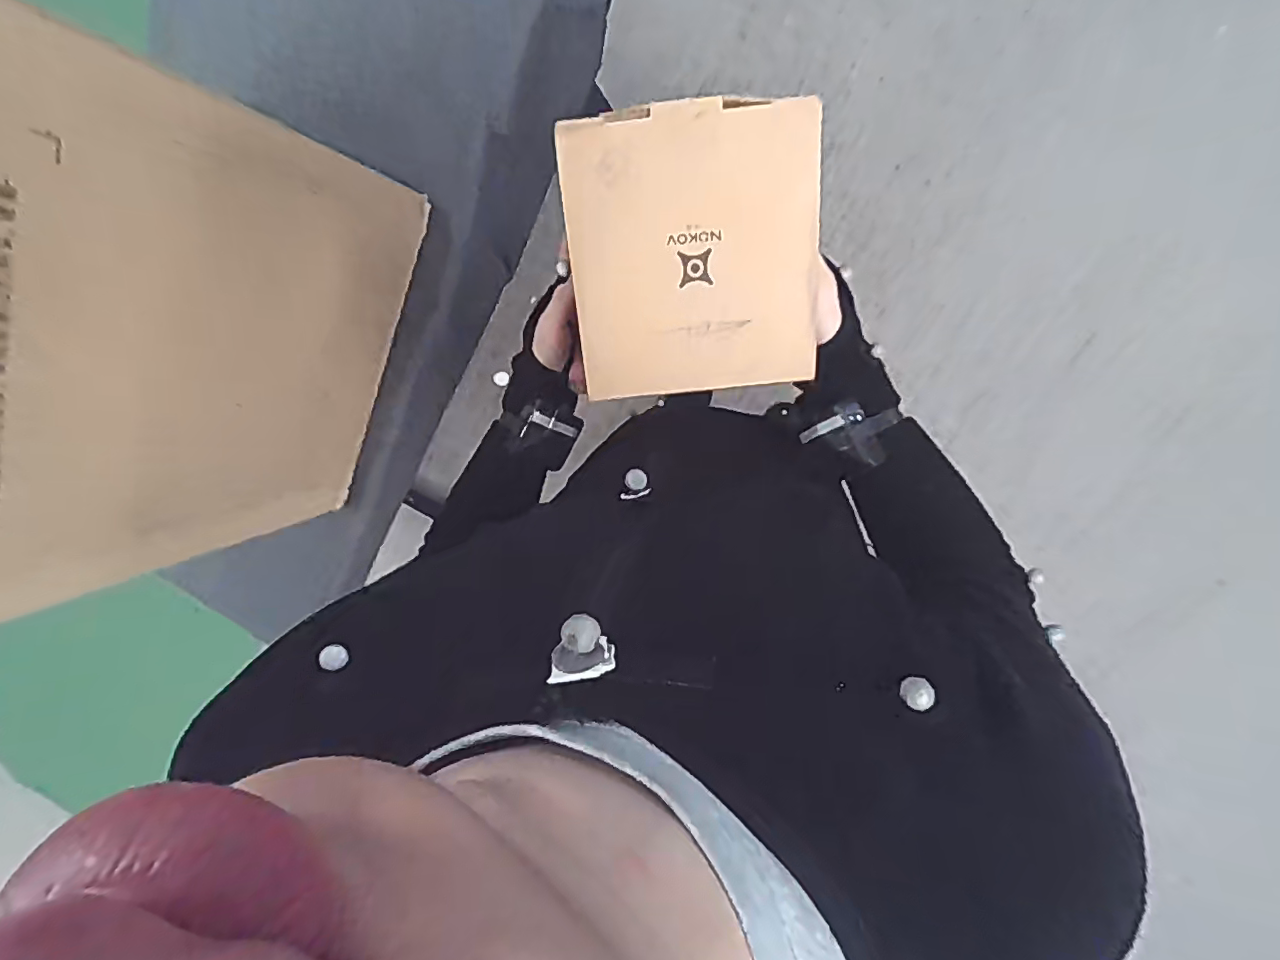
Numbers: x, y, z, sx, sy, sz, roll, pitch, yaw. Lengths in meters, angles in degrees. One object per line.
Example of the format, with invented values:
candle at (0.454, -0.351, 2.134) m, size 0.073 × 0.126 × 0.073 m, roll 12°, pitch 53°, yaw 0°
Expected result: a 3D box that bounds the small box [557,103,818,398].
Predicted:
small box at (0.031, -0.176, 0.435) m, size 0.168 × 0.176 × 0.179 m, roll -4°, pitch 114°, yaw 0°
